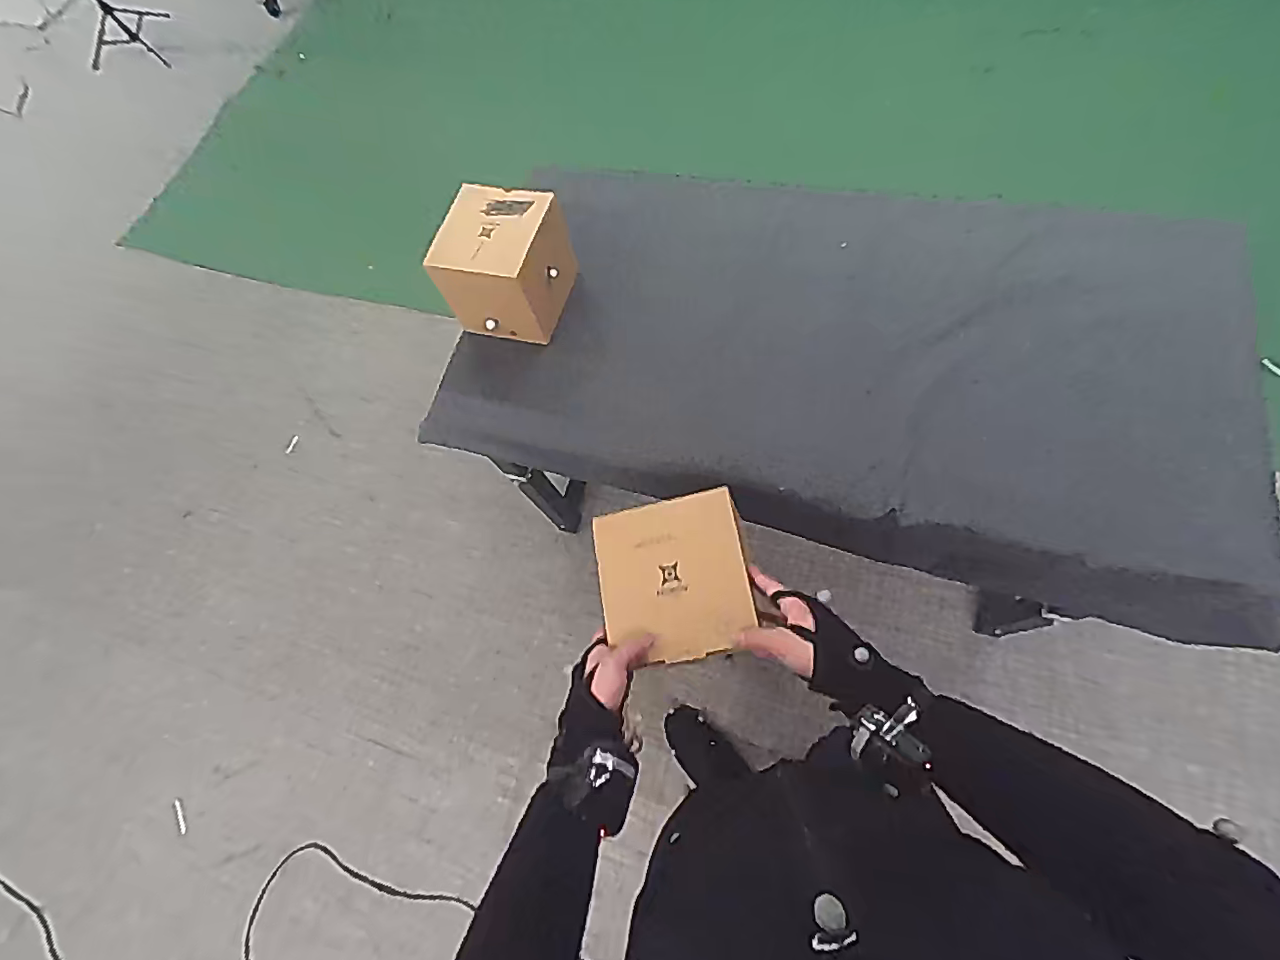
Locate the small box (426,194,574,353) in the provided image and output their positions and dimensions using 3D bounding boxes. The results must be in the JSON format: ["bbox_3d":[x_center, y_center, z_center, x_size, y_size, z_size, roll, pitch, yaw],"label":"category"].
[{"bbox_3d":[-0.223,-0.347,0.921,0.168,0.176,0.179,12,71,12],"label":"small box"}]

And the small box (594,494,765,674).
[{"bbox_3d":[0.055,0.137,0.673,0.168,0.176,0.179,-14,68,11],"label":"small box"}]
